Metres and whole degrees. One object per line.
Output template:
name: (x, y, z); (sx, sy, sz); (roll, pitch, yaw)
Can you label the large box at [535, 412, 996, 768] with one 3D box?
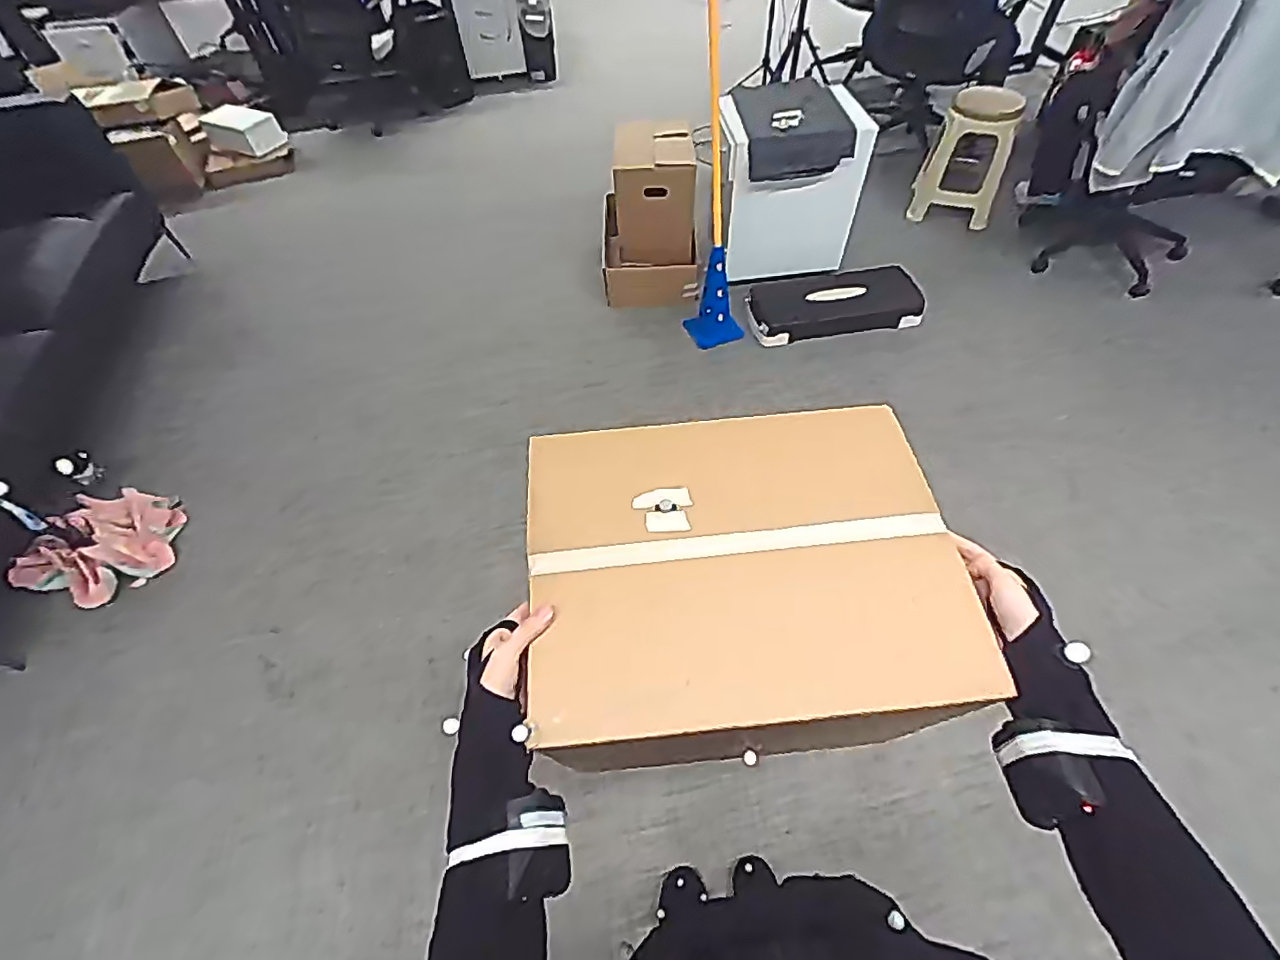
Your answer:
large box: (0.104, 0.151, 0.662); (0.408, 0.320, 0.320); (-6, 57, -1)
